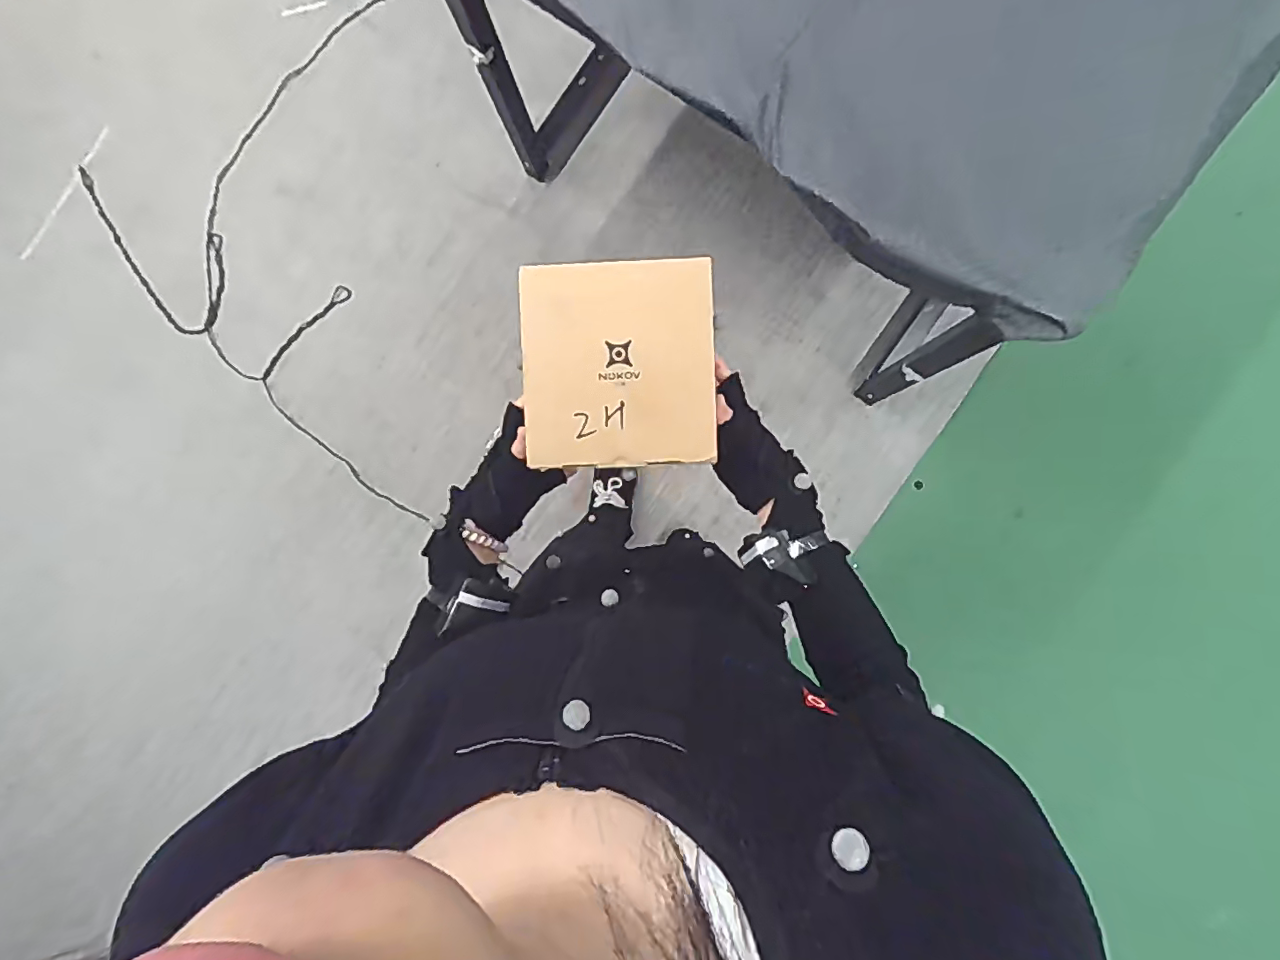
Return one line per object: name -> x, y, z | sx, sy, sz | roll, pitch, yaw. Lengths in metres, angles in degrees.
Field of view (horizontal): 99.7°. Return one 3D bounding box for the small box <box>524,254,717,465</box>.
small box -> -0.016, -0.105, 0.540 | 0.168, 0.176, 0.179 | -2, 92, 2
